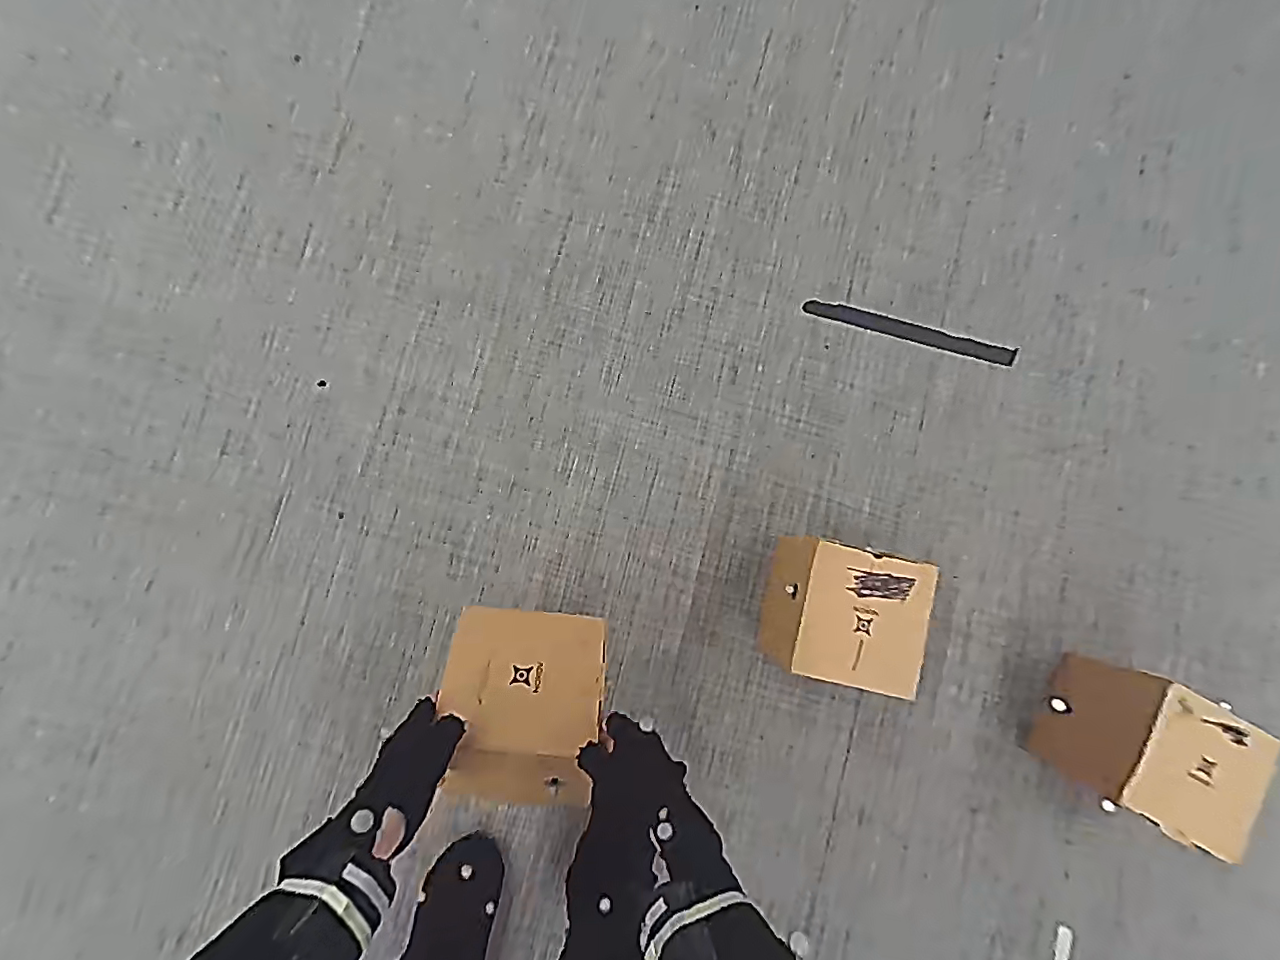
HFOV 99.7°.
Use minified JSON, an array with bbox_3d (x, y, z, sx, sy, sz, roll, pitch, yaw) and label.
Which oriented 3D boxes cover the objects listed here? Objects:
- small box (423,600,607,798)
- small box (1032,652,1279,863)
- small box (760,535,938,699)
[{"bbox_3d":[-0.137,0.266,0.651,0.179,0.176,0.168,4,43,-4],"label":"small box"},{"bbox_3d":[0.709,0.374,0.765,0.168,0.176,0.179,30,85,0],"label":"small box"},{"bbox_3d":[0.282,0.180,0.764,0.168,0.176,0.179,14,85,-1],"label":"small box"}]
